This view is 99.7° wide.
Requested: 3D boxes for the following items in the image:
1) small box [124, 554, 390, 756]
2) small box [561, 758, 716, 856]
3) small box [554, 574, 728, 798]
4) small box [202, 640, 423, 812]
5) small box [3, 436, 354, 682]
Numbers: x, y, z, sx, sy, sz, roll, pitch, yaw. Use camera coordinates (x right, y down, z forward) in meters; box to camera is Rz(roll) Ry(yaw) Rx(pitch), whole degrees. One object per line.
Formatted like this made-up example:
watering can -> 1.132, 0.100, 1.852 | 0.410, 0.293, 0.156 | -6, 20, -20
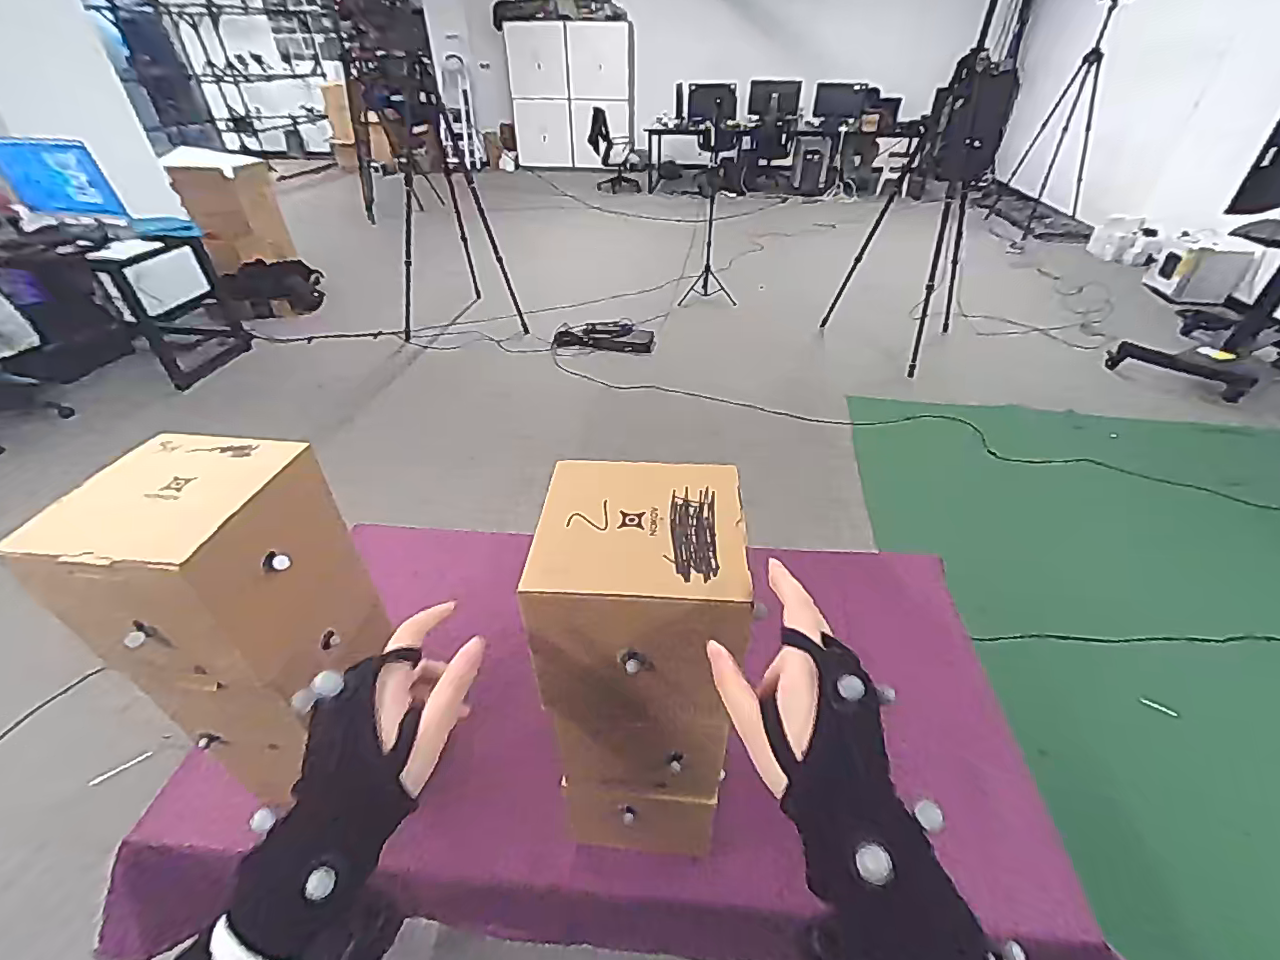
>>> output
small box -> -0.427, 0.203, 0.646 | 0.168, 0.176, 0.179 | 4, 37, 4
small box -> 0.008, 0.363, 0.706 | 0.179, 0.176, 0.168 | 5, 39, 6
small box -> 0.009, 0.231, 0.610 | 0.168, 0.176, 0.179 | 3, 38, 4
small box -> -0.430, 0.333, 0.746 | 0.179, 0.176, 0.168 | 4, 38, 4
small box -> -0.421, 0.078, 0.539 | 0.168, 0.176, 0.179 | 5, 39, 4
